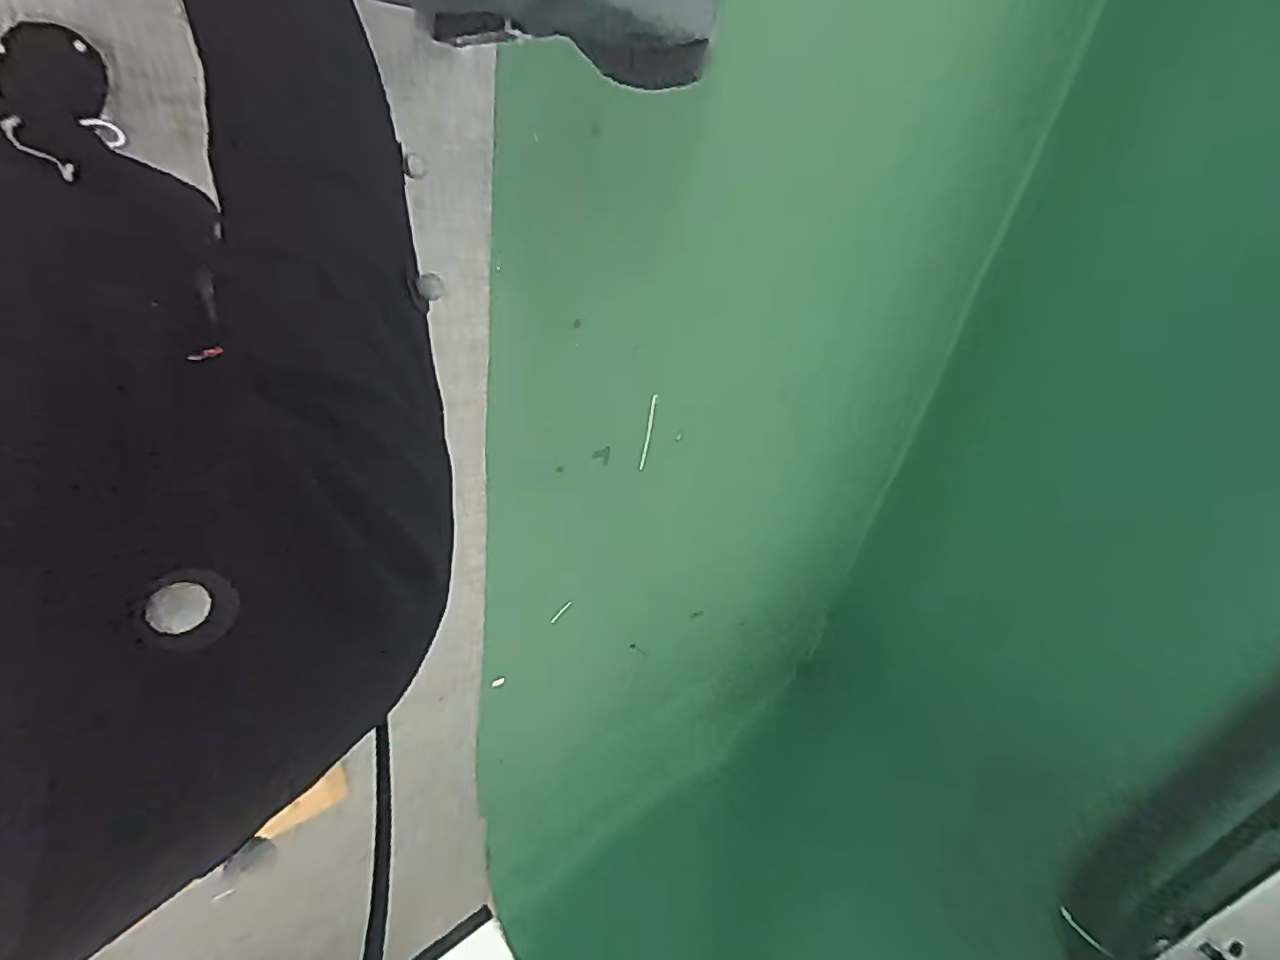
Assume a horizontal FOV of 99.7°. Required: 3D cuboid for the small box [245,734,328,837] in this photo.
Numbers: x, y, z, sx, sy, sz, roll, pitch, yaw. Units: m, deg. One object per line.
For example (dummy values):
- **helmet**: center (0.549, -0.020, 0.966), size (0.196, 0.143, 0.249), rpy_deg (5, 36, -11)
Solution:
- **small box**: center (-1.060, 0.907, 1.622), size (0.168, 0.176, 0.179), rpy_deg (-18, 128, -37)
